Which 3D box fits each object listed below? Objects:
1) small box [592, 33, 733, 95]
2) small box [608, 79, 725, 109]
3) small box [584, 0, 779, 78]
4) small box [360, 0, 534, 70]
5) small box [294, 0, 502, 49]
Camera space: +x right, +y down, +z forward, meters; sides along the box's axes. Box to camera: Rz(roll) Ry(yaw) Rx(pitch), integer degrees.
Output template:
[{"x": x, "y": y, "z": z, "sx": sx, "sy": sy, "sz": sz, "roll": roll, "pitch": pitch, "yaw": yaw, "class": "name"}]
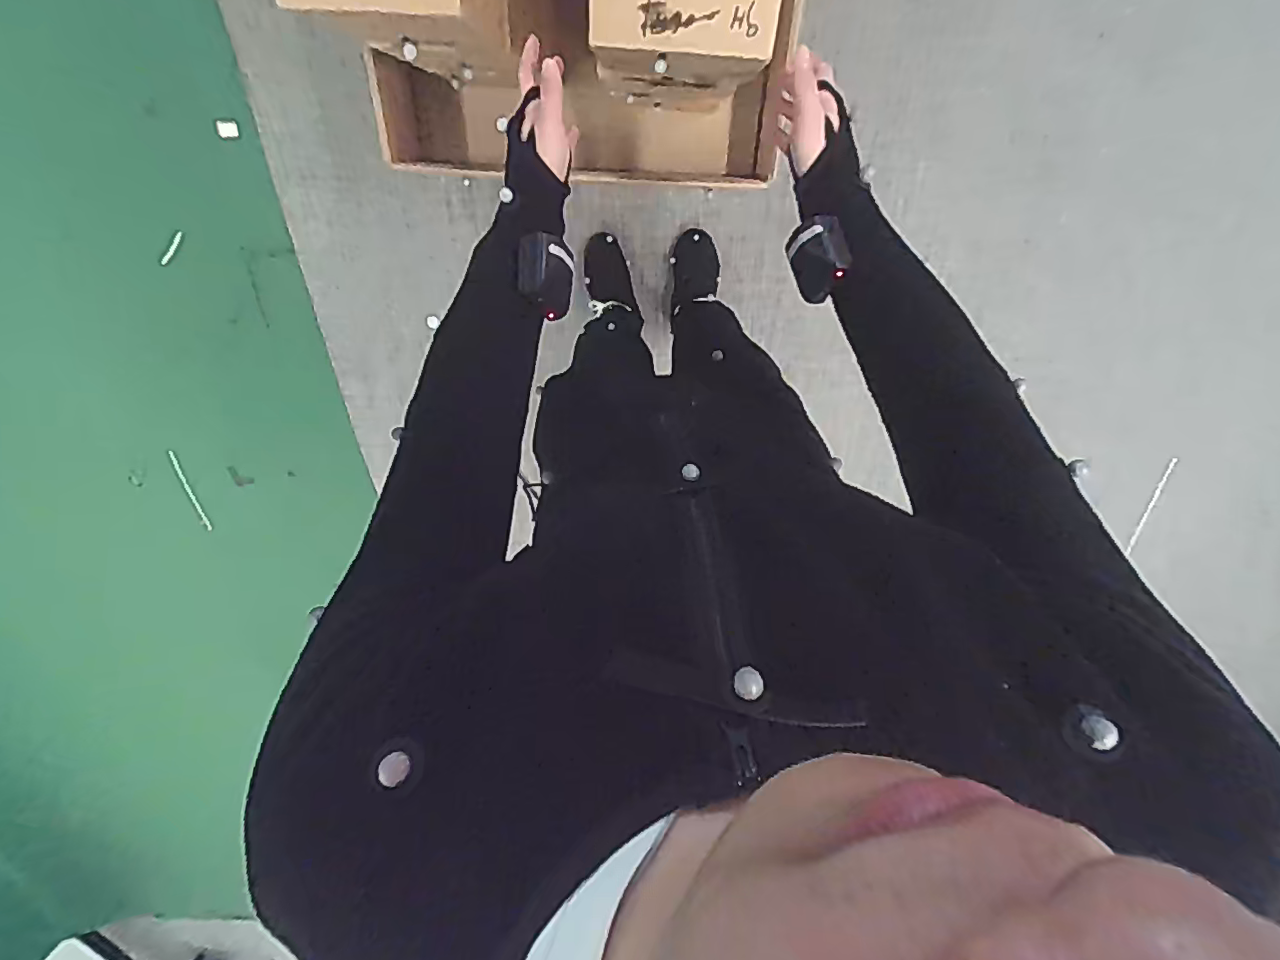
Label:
[{"x": 0.038, "y": -0.571, "z": 0.638, "sx": 0.168, "sy": 0.176, "sz": 0.179, "roll": 5, "pitch": 120, "yaw": 0, "class": "small box"}, {"x": 0.044, "y": -0.654, "z": 0.780, "sx": 0.168, "sy": 0.176, "sz": 0.179, "roll": 4, "pitch": 121, "yaw": 0, "class": "small box"}, {"x": 0.041, "y": -0.493, "z": 0.493, "sx": 0.168, "sy": 0.176, "sz": 0.179, "roll": 5, "pitch": 120, "yaw": 0, "class": "small box"}, {"x": -0.225, "y": -0.604, "z": 0.629, "sx": 0.168, "sy": 0.176, "sz": 0.179, "roll": 3, "pitch": 120, "yaw": 2, "class": "small box"}, {"x": -0.231, "y": -0.522, "z": 0.489, "sx": 0.168, "sy": 0.176, "sz": 0.179, "roll": 4, "pitch": 120, "yaw": 1, "class": "small box"}]
